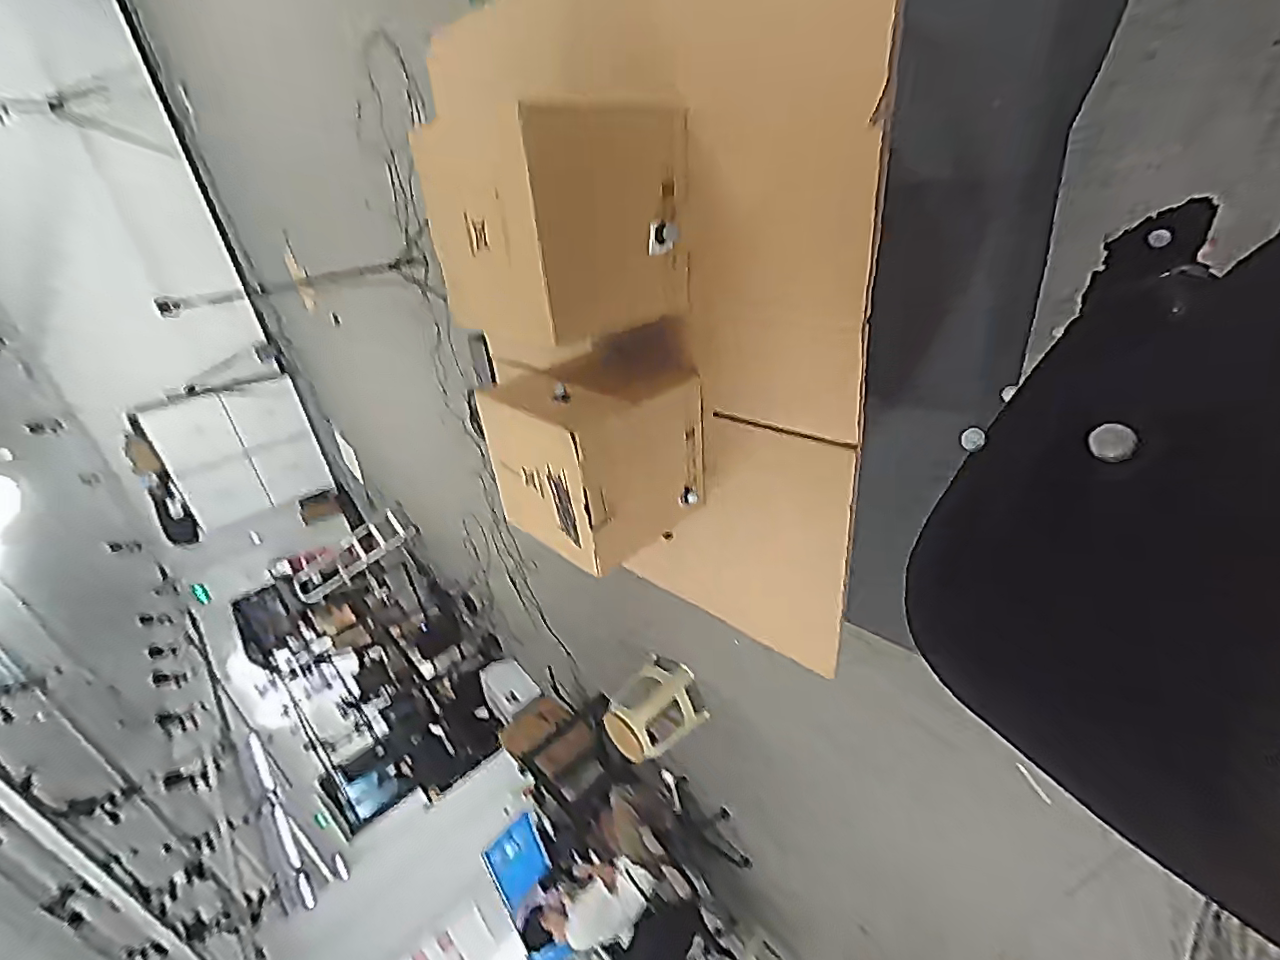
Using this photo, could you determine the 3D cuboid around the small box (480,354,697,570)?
[{"bbox_3d":[-0.047,-0.034,0.612,0.179,0.176,0.168,23,131,41],"label":"small box"}]
